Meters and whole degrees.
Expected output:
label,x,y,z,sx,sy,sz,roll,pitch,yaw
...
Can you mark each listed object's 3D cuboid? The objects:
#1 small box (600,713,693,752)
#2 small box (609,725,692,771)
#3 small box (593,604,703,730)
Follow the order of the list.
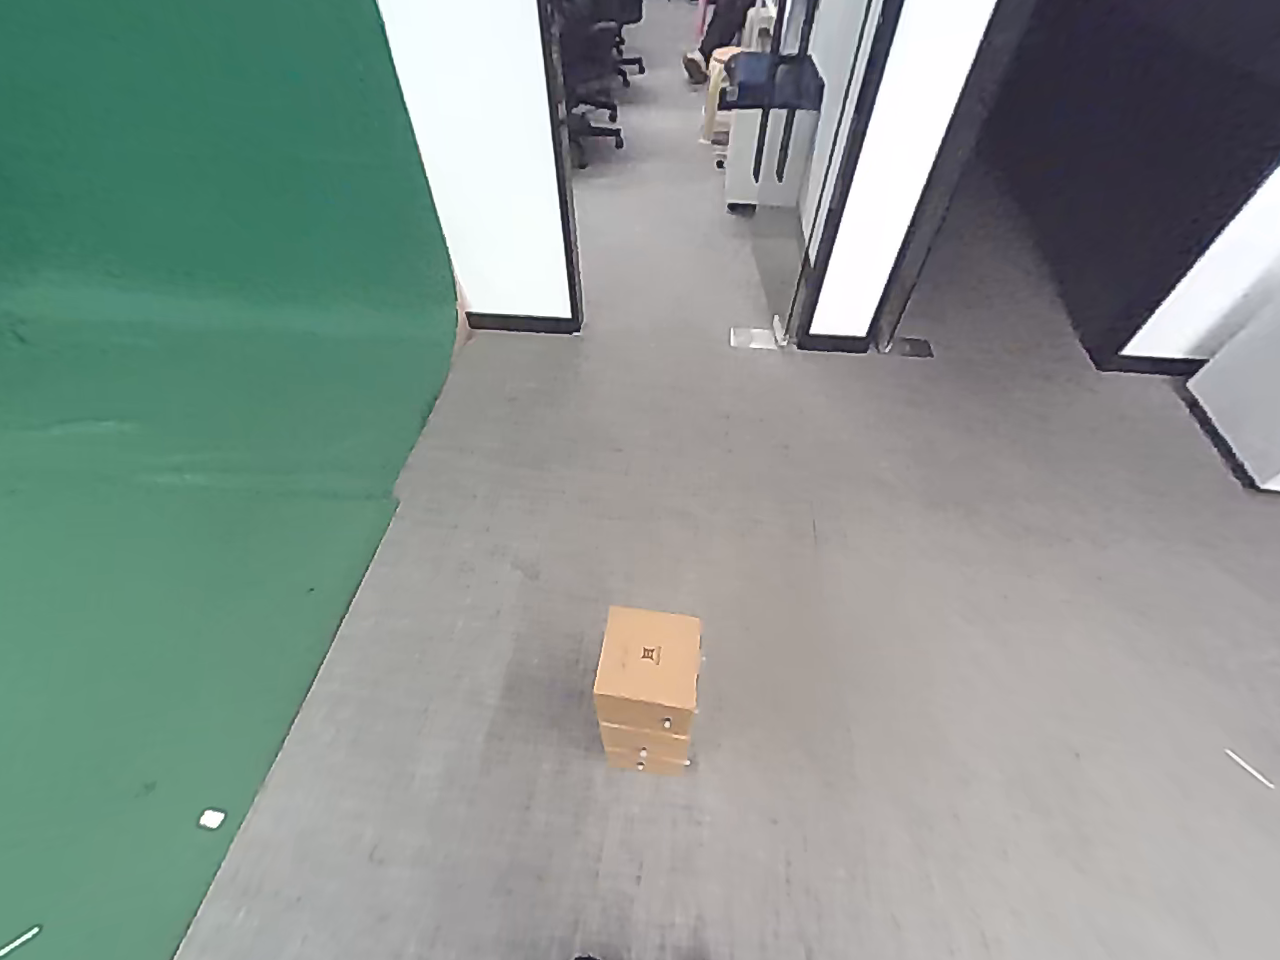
label,x,y,z,sx,sy,sz,roll,pitch,yaw
small box,0.022,0.461,1.141,0.179,0.176,0.168,8,52,6
small box,0.027,0.568,1.264,0.179,0.176,0.168,6,52,4
small box,0.019,0.356,1.017,0.179,0.176,0.168,6,51,6
